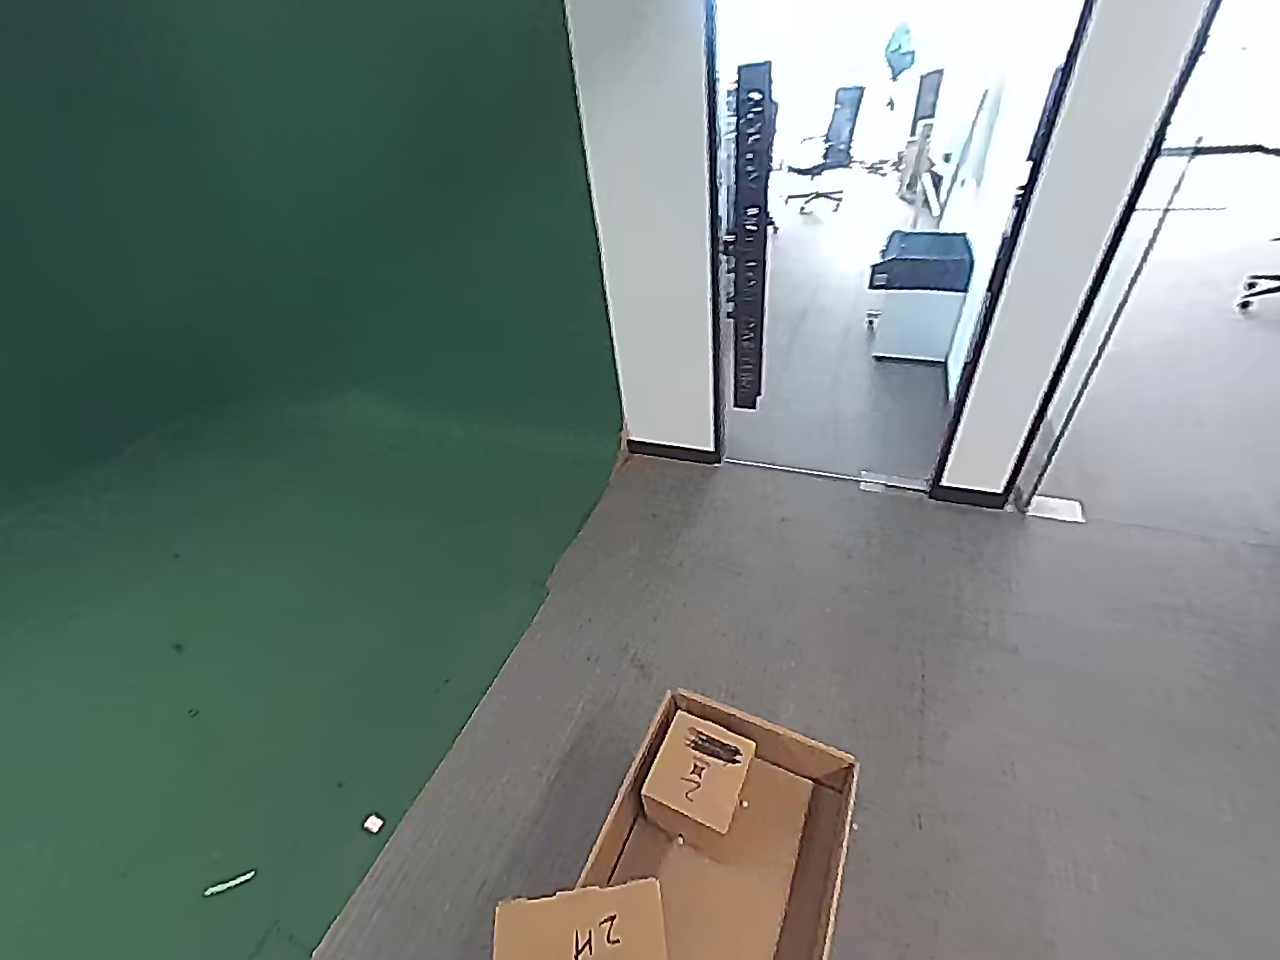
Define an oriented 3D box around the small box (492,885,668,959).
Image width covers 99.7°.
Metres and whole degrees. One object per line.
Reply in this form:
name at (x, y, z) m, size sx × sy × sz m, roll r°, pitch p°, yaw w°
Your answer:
small box at (-0.050, 0.530, 0.537) m, size 0.168 × 0.176 × 0.179 m, roll -6°, pitch 46°, yaw -4°
